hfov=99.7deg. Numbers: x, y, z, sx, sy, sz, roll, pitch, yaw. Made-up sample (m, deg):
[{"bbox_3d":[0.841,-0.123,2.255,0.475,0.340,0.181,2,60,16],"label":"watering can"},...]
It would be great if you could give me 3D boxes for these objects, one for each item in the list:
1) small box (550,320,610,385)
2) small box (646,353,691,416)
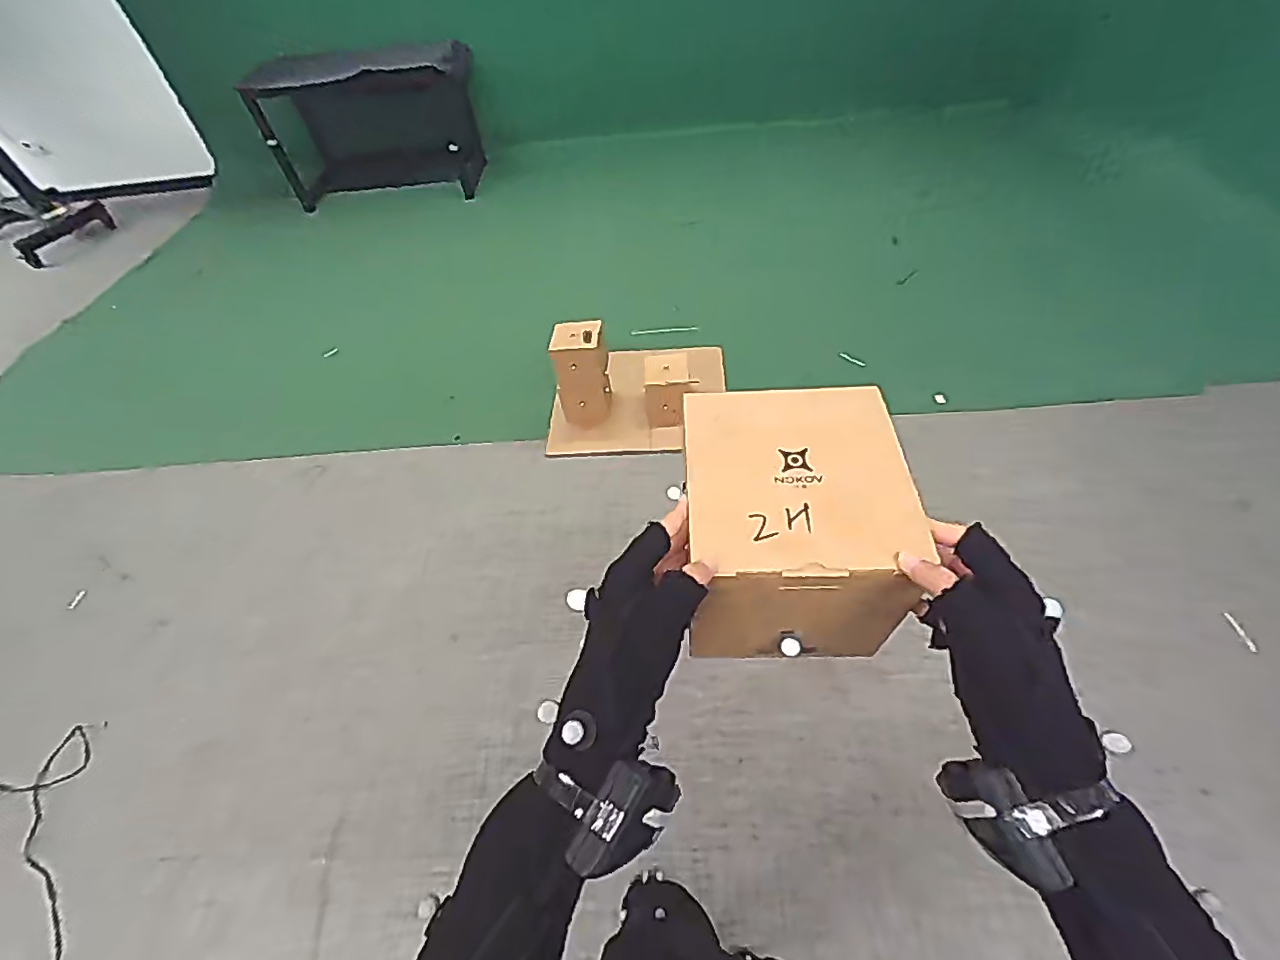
[{"bbox_3d":[-0.214,-0.466,1.991,0.179,0.176,0.168,-2,50,9],"label":"small box"},{"bbox_3d":[0.112,-0.367,2.088,0.168,0.176,0.179,-3,50,4],"label":"small box"}]
